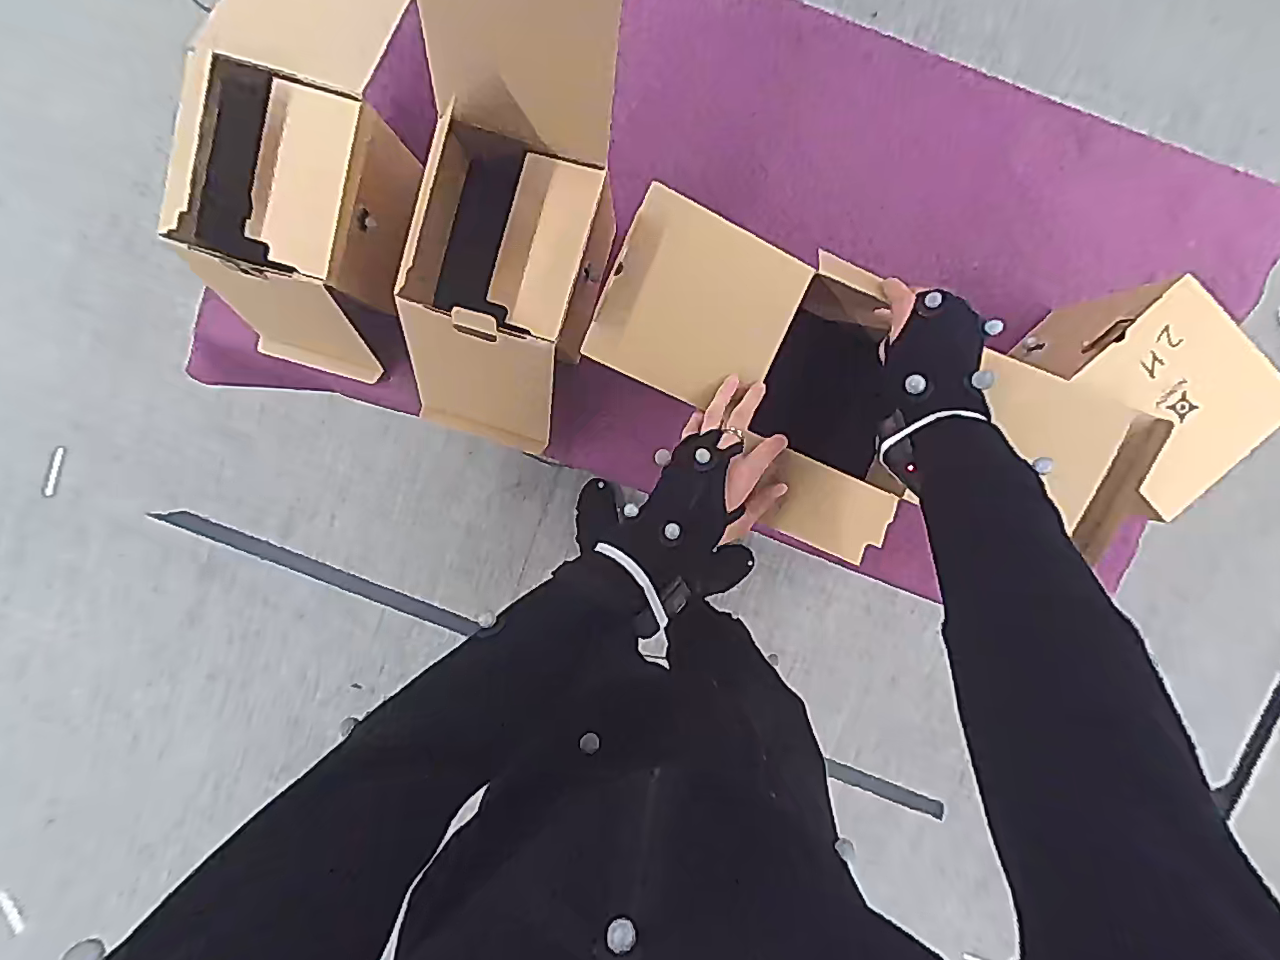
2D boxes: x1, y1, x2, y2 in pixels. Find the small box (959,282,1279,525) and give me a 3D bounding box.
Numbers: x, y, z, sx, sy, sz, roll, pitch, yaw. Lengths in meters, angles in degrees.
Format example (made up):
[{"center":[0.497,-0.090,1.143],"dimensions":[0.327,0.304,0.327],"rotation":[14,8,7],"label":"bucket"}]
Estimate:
[{"center":[0.507,-0.079,0.594],"dimensions":[0.168,0.176,0.179],"rotation":[-43,93,4],"label":"small box"}]
